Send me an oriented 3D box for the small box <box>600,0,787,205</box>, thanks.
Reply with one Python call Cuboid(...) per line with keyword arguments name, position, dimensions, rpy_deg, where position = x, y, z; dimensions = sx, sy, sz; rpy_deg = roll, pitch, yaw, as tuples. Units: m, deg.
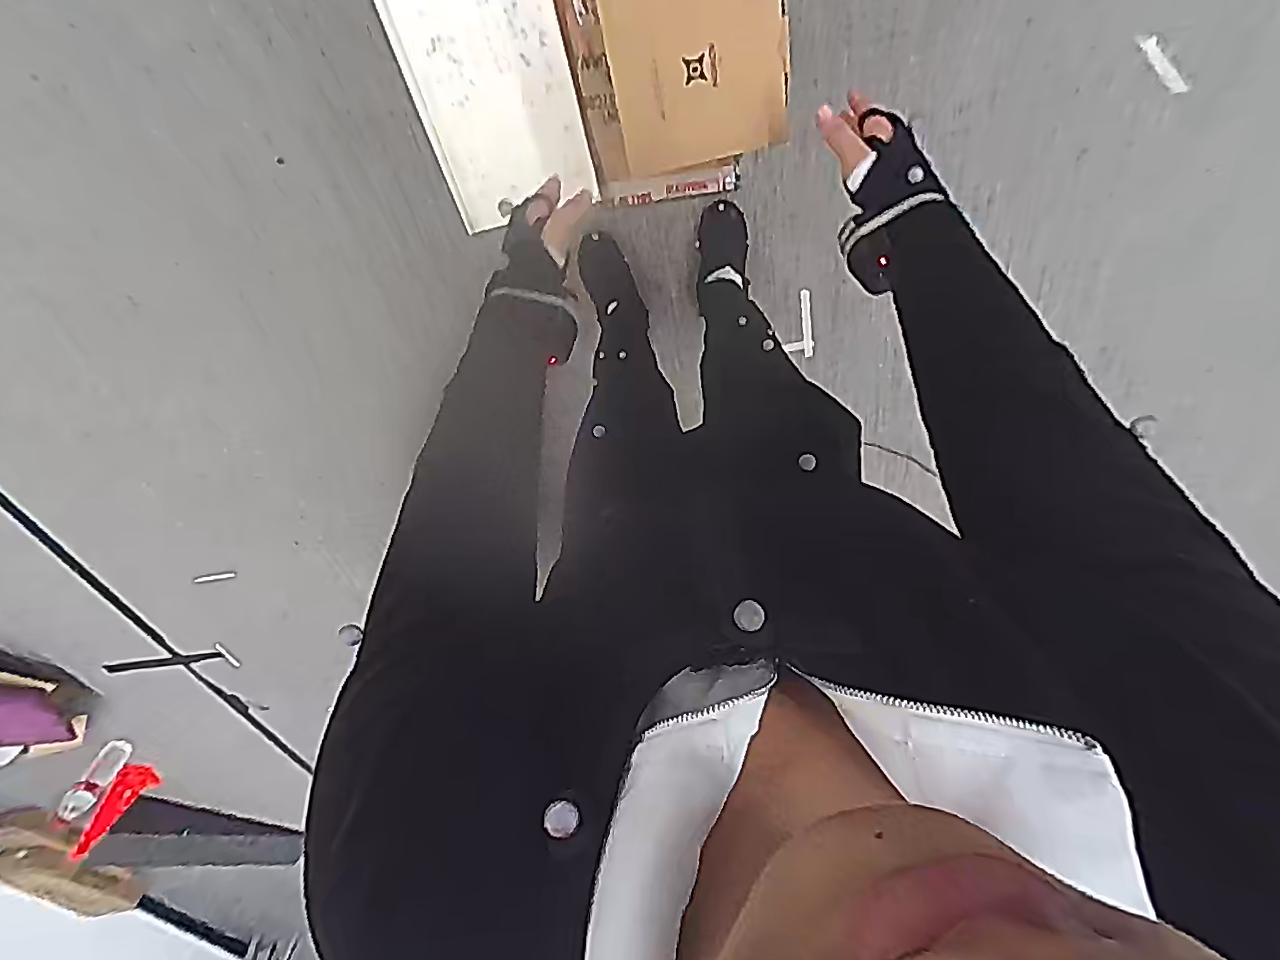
Cuboid(name="small box", position=(0.058, -0.439, 0.621), dimensions=(0.179, 0.176, 0.168), rpy_deg=(-11, 126, 6))
